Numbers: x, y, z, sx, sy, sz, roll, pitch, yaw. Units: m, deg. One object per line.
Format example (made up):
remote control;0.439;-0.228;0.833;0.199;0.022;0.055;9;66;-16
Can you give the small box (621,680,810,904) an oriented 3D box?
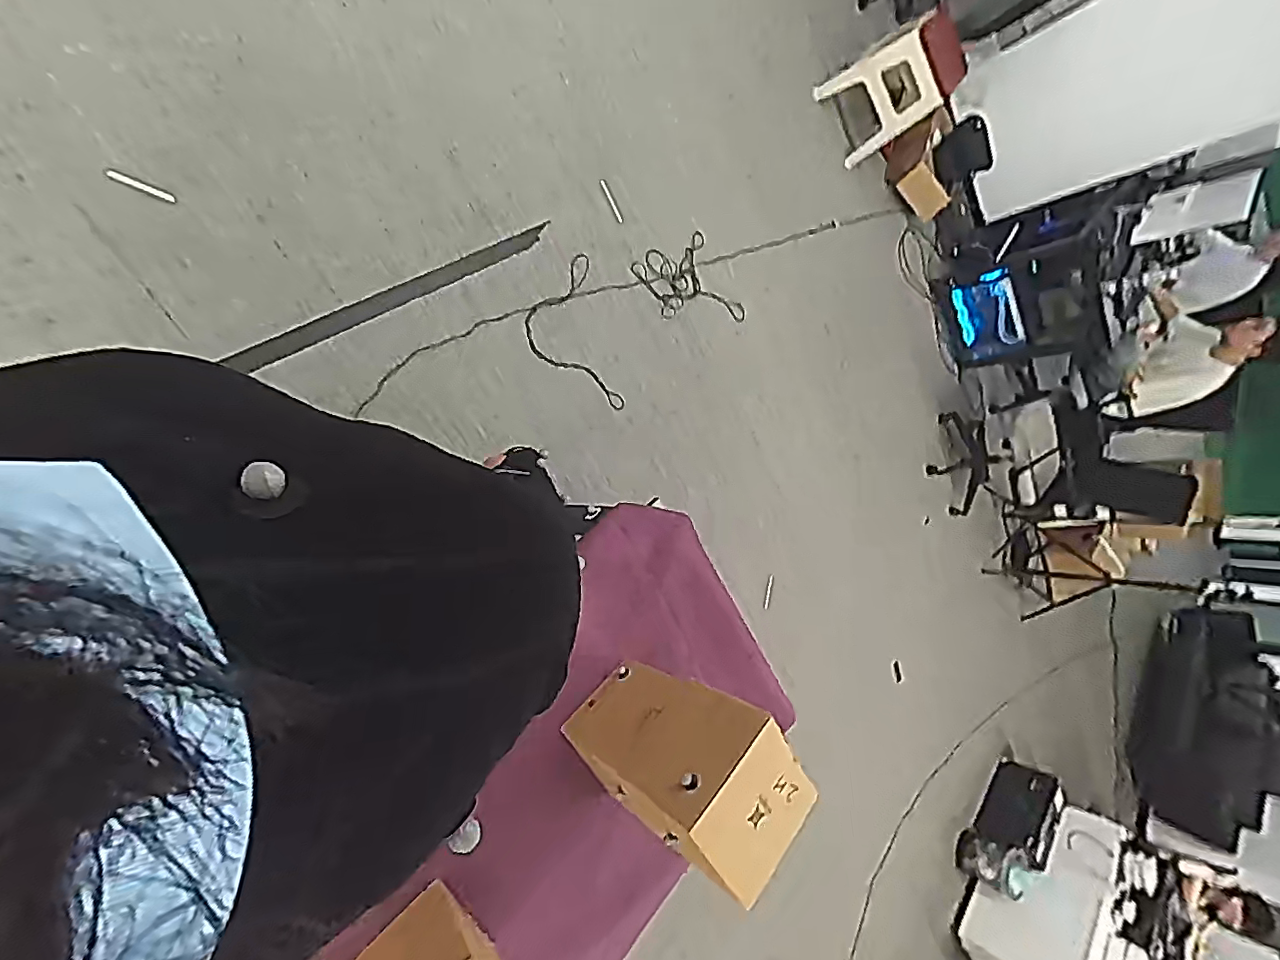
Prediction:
small box;0.096;0.416;0.751;0.179;0.176;0.168;-41;112;-29

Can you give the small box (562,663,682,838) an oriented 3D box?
small box;0.002;0.426;0.887;0.168;0.176;0.179;-40;112;-29
